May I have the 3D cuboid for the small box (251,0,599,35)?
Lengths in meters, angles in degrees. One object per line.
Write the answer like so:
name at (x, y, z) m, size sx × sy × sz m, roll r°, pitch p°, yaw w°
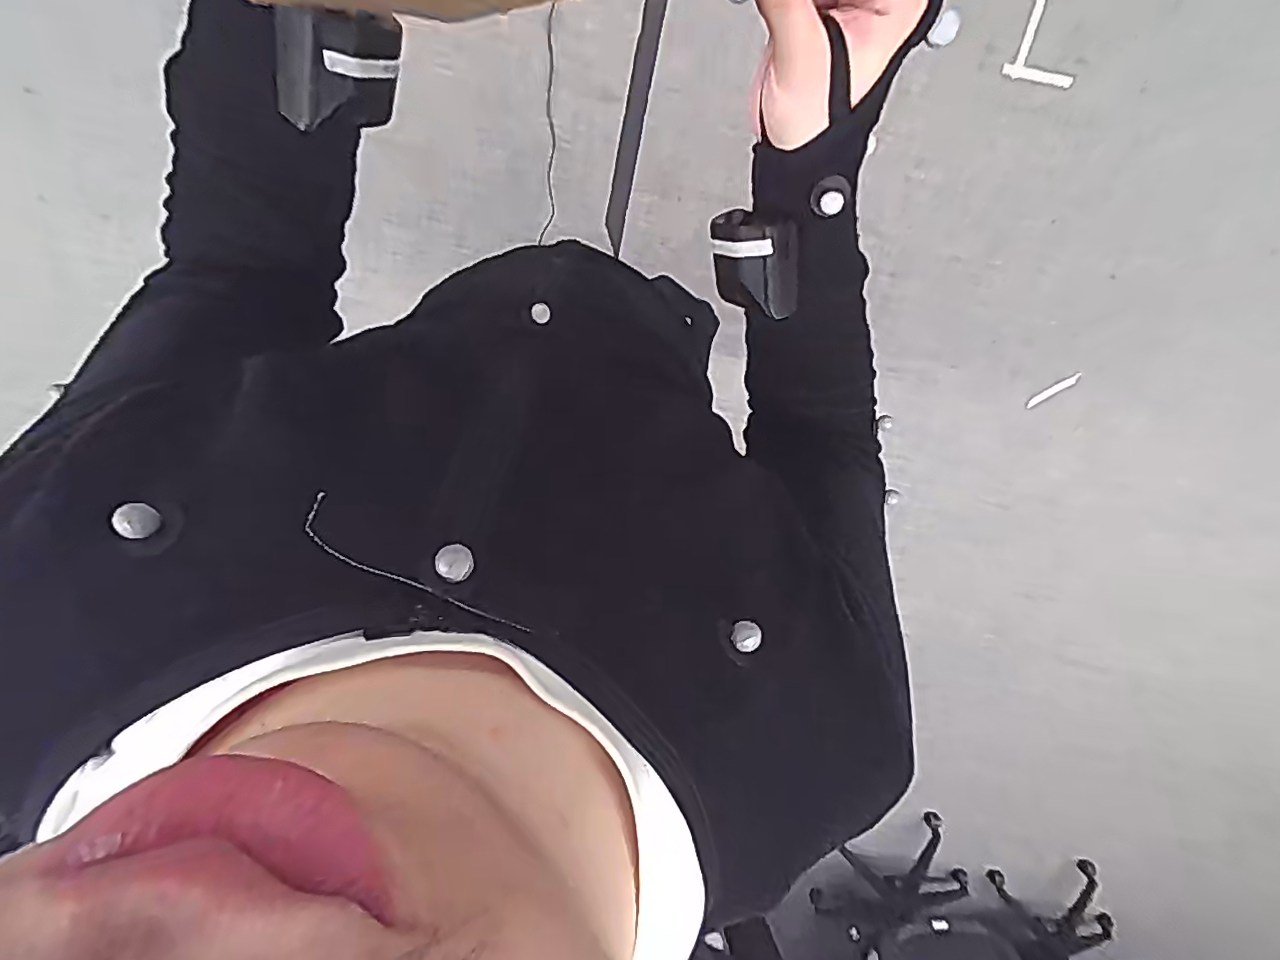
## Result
small box at (-0.026, -0.234, 0.130) m, size 0.168 × 0.176 × 0.179 m, roll -8°, pitch 128°, yaw 6°
